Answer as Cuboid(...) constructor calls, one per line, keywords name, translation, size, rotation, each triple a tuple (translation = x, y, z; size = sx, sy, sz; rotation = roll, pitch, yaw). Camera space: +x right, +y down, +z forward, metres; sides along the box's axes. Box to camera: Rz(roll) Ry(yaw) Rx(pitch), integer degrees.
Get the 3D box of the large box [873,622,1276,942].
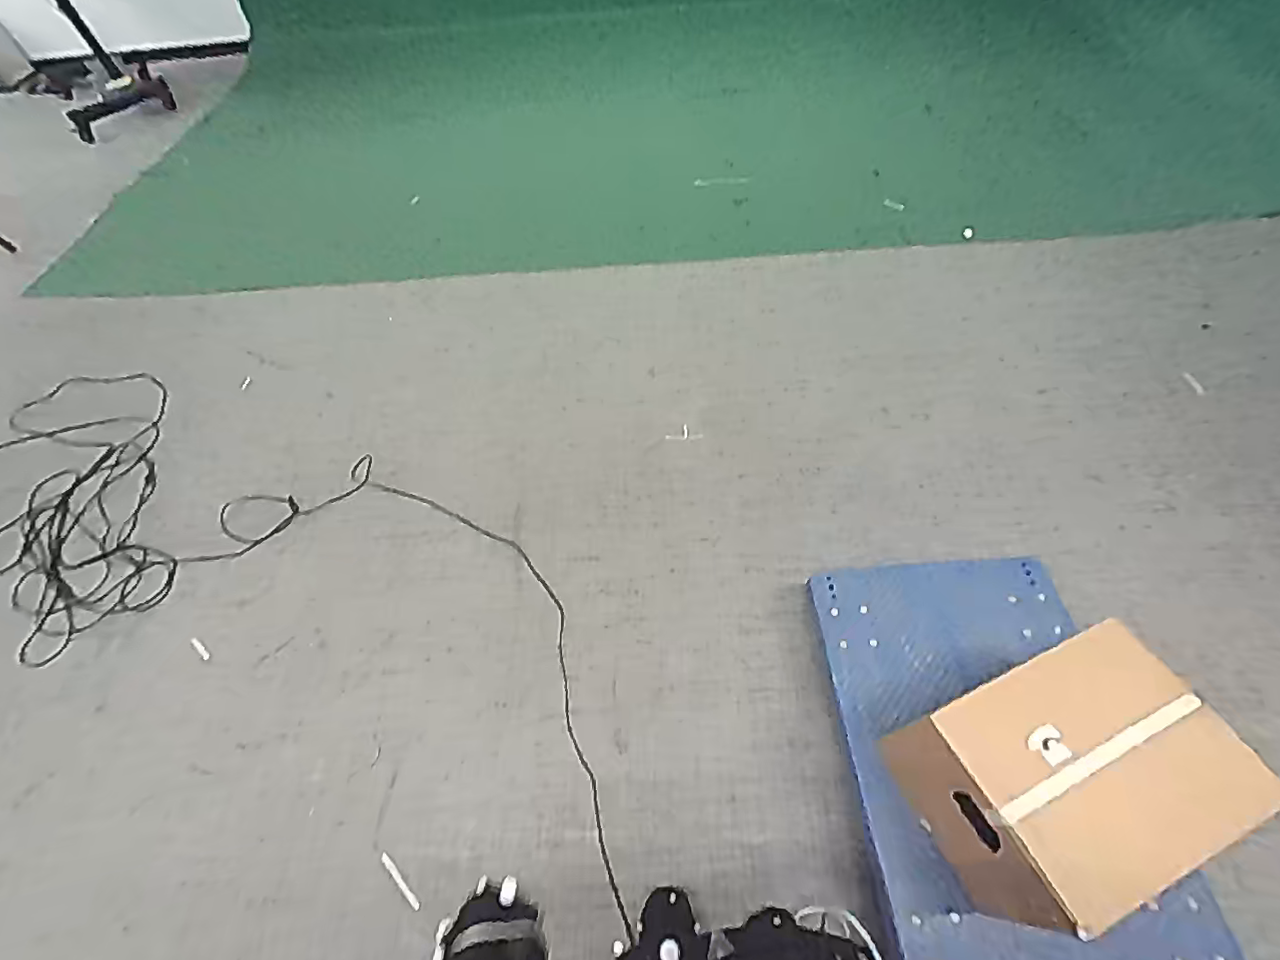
Cuboid(name="large box", translation=(0.715, 0.515, 0.966), size=(0.408, 0.320, 0.320), rotation=(-22, 57, -10))
